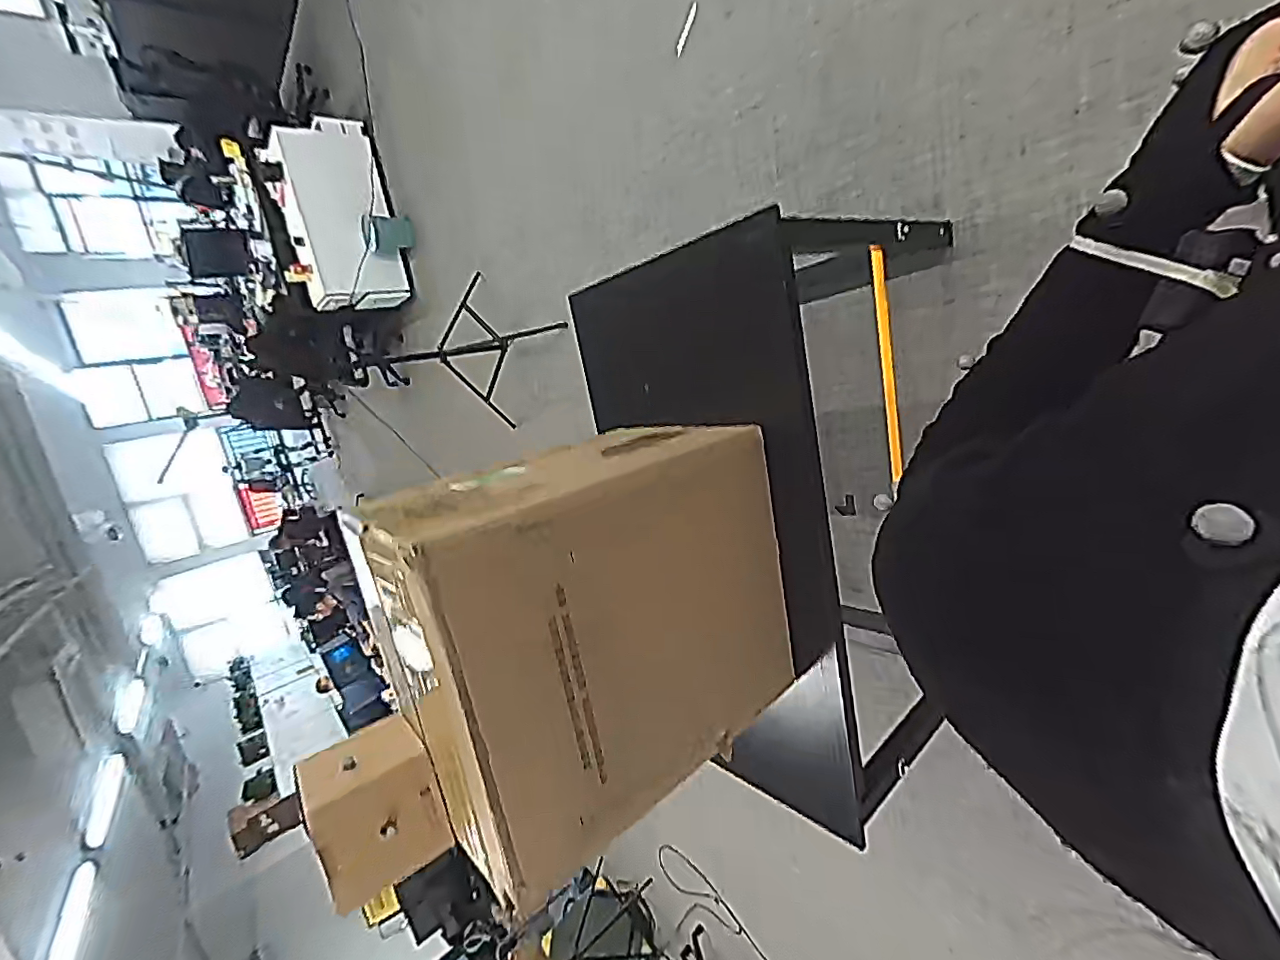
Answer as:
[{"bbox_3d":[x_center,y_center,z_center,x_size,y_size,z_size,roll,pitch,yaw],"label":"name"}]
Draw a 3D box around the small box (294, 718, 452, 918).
[{"bbox_3d":[-0.410,0.504,0.841,0.179,0.176,0.168,-2,103,53],"label":"small box"}]
